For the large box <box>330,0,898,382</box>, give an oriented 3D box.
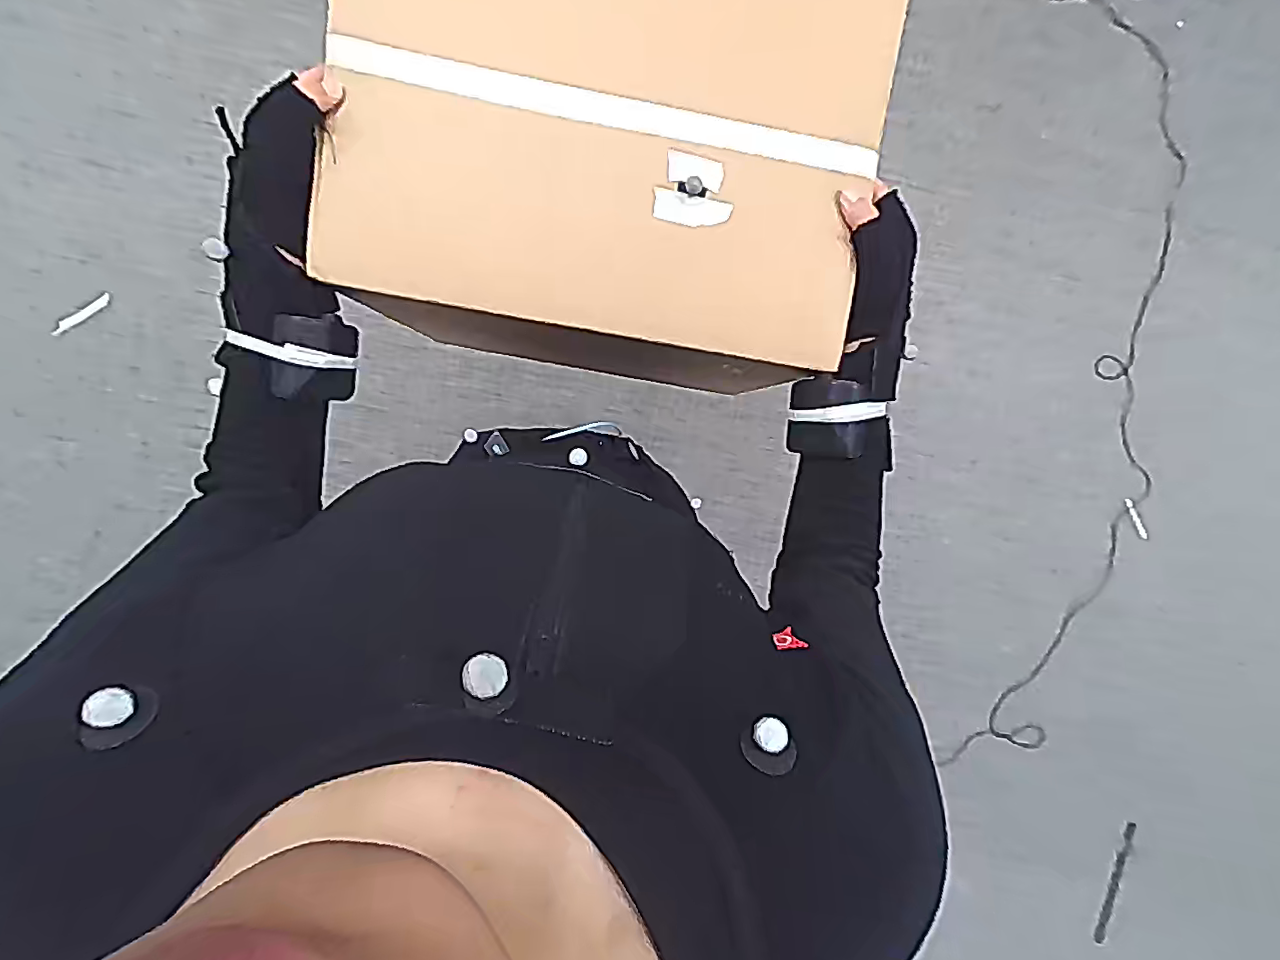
[{"bbox_3d":[-0.029,-0.292,0.554,0.408,0.320,0.320,9,96,-6],"label":"large box"}]
